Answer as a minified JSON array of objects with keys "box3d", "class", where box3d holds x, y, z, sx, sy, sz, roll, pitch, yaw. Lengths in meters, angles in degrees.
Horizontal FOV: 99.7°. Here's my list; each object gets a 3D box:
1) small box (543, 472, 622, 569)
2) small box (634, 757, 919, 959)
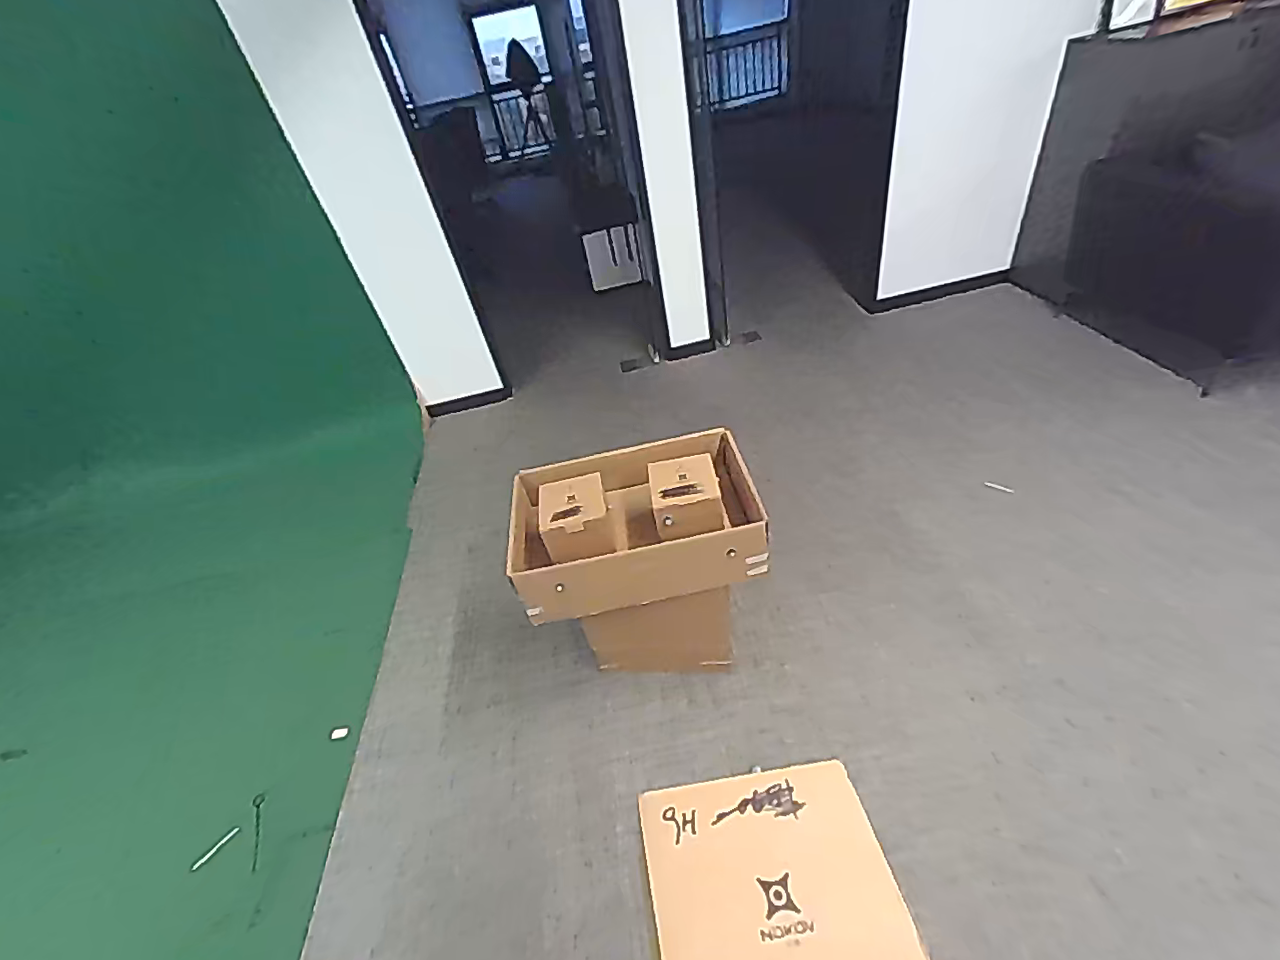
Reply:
[{"box3d":[-0.149,0.112,1.407,0.168,0.176,0.179,-13,40,1],"class":"small box"},{"box3d":[0.089,0.344,0.408,0.168,0.176,0.179,-6,39,-6],"class":"small box"}]
